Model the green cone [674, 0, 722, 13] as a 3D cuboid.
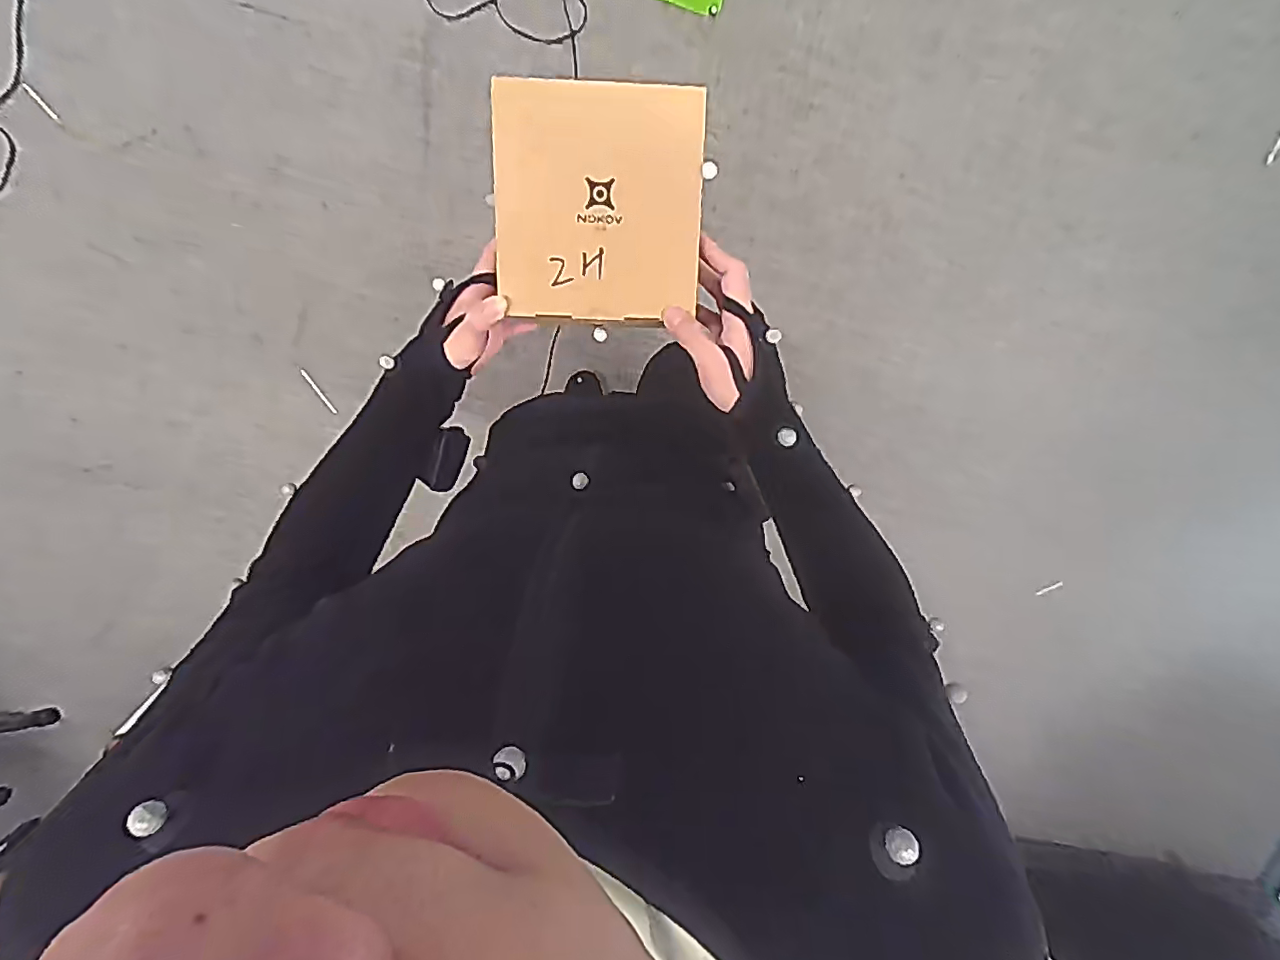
[{"bbox_3d":[0.130,-1.210,1.121,0.202,0.368,0.200,14,103,-6],"label":"green cone"}]
